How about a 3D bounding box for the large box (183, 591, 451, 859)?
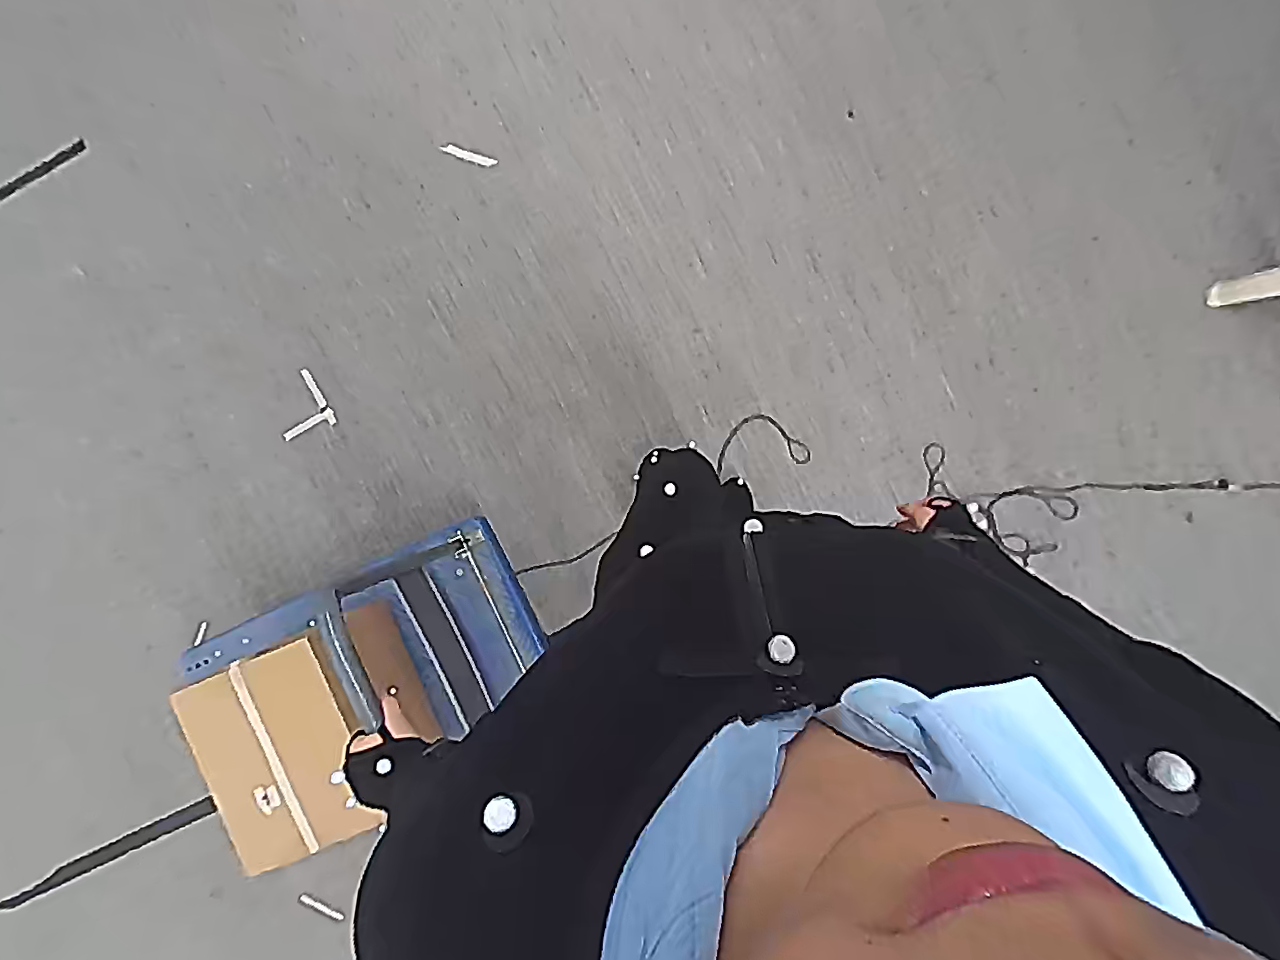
[{"bbox_3d":[-0.698,0.523,1.232,0.320,0.320,0.408,-23,92,4],"label":"large box"}]
